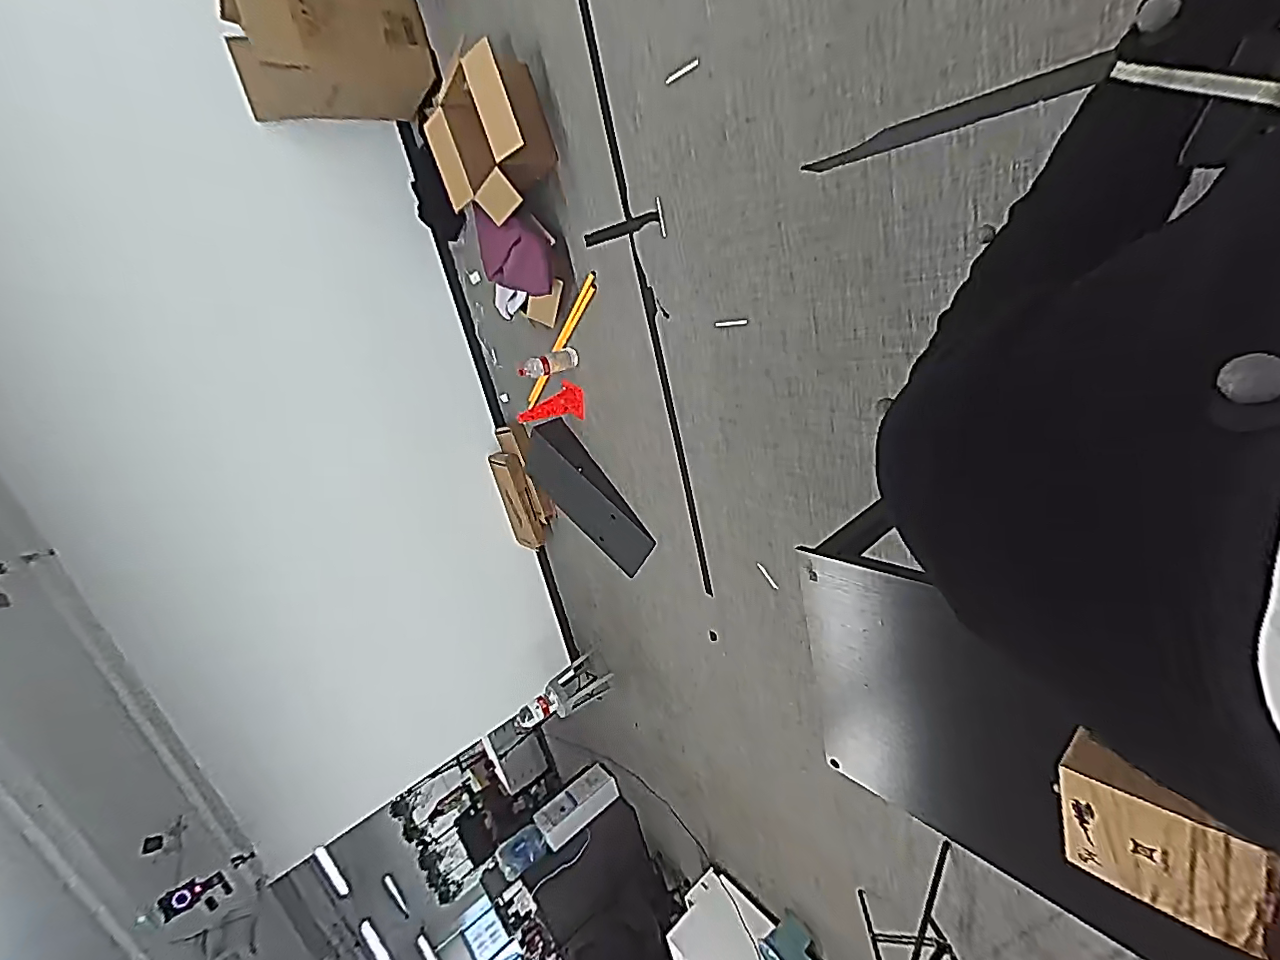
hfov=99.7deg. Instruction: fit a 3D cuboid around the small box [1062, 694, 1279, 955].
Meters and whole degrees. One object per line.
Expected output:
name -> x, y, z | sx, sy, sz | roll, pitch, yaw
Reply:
small box -> 0.654, 0.398, 0.664 | 0.179, 0.176, 0.168 | 6, 117, 53
